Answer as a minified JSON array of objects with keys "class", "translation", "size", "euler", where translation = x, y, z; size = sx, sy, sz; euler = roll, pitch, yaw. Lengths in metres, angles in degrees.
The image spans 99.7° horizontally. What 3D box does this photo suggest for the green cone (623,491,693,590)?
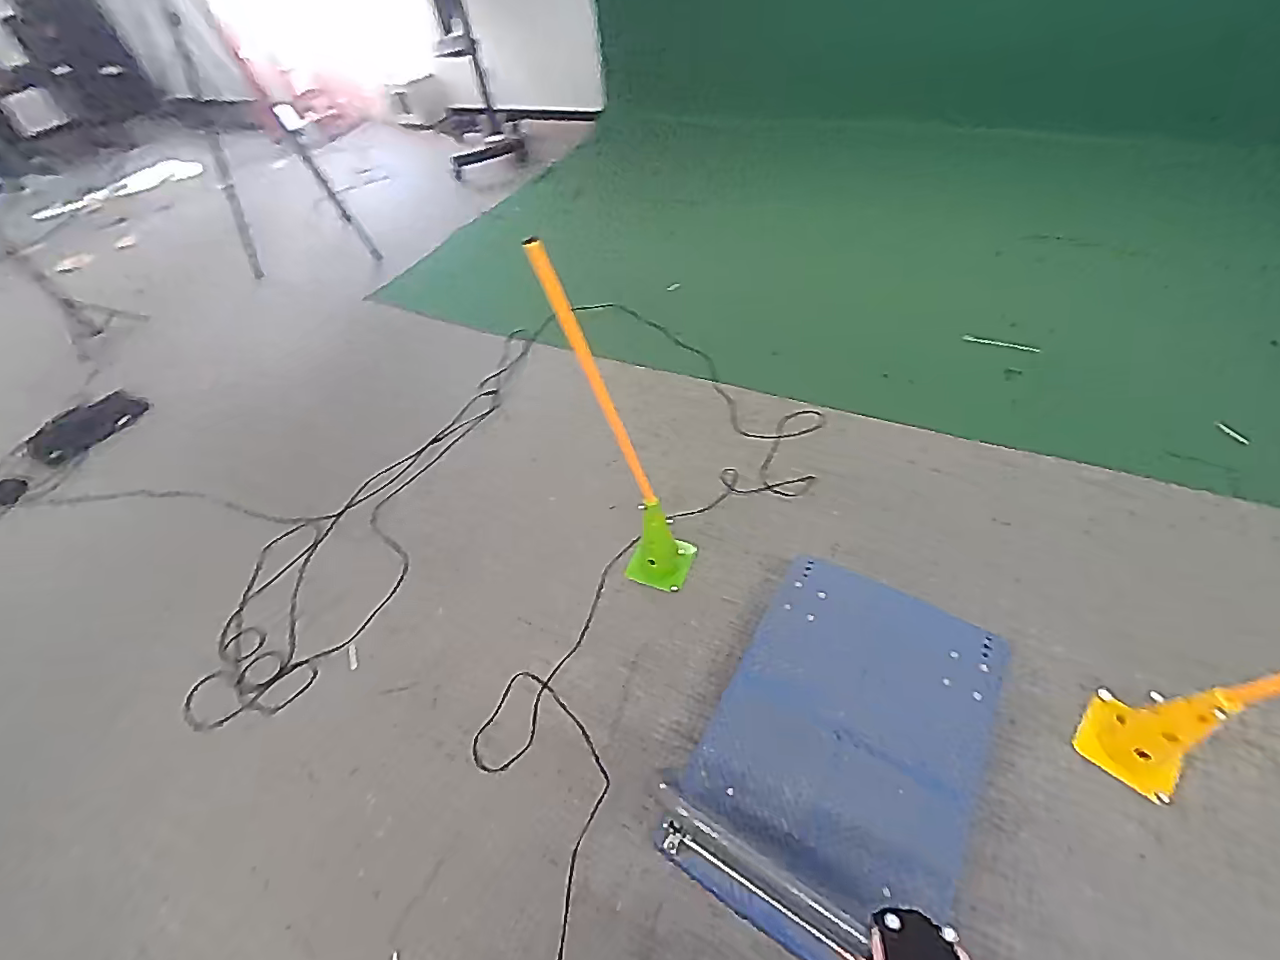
[{"class":"green cone","translation":[0.040,0.161,1.727],"size":[0.202,0.368,0.200],"euler":[13,53,20]}]
